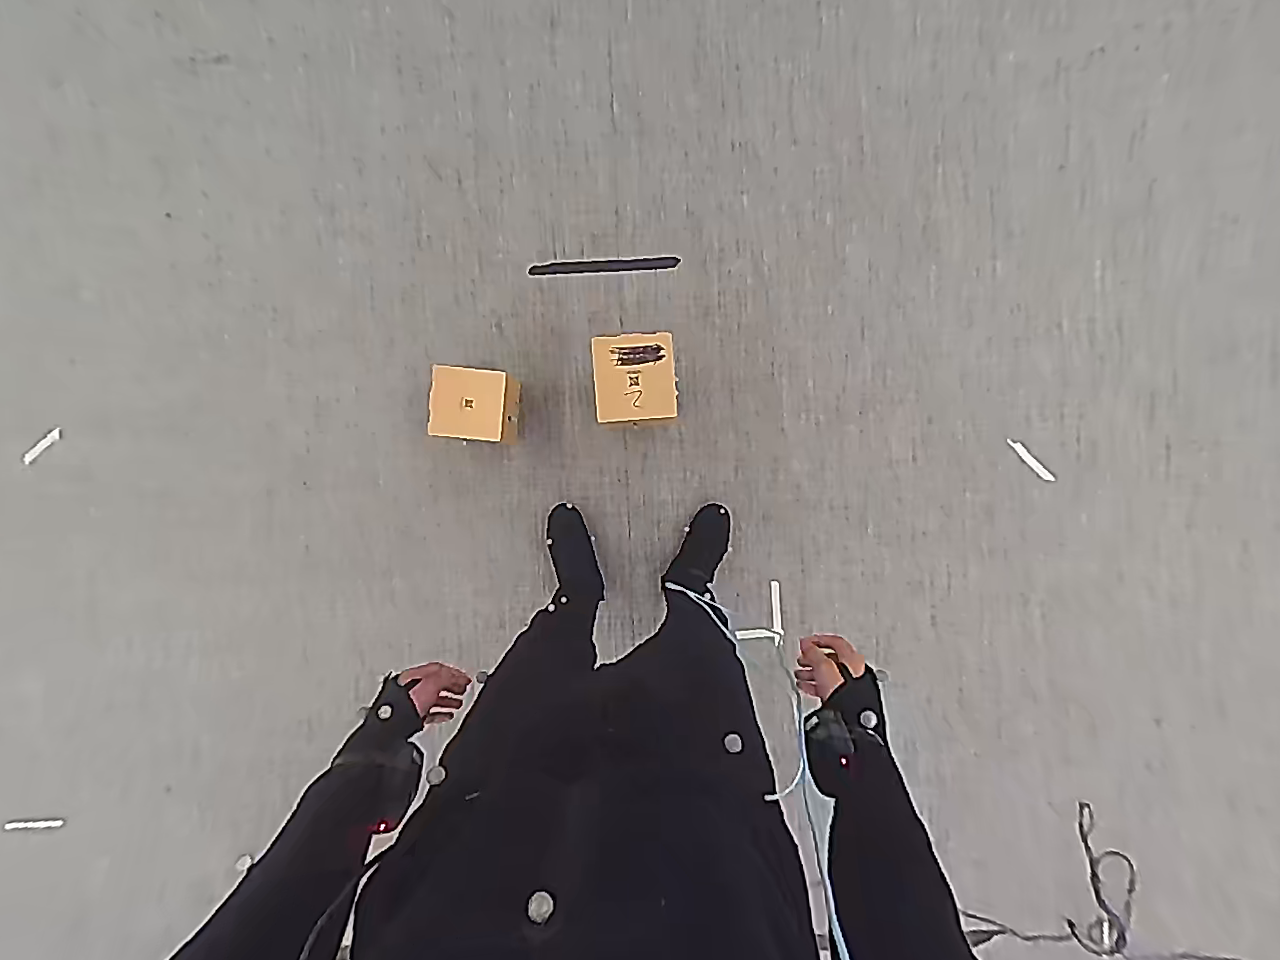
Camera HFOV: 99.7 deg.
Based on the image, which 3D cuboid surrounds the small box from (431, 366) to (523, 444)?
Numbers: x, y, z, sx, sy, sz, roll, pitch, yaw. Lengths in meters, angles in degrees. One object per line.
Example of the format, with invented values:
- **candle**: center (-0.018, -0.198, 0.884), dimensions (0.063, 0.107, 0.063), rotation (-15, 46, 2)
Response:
- **small box**: center (-0.397, -0.181, 1.345), dimensions (0.179, 0.176, 0.168), rotation (6, 93, 1)

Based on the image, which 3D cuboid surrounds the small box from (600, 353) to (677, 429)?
- **small box**: center (-0.002, -0.216, 1.344), dimensions (0.179, 0.176, 0.168), rotation (-3, 93, -1)
